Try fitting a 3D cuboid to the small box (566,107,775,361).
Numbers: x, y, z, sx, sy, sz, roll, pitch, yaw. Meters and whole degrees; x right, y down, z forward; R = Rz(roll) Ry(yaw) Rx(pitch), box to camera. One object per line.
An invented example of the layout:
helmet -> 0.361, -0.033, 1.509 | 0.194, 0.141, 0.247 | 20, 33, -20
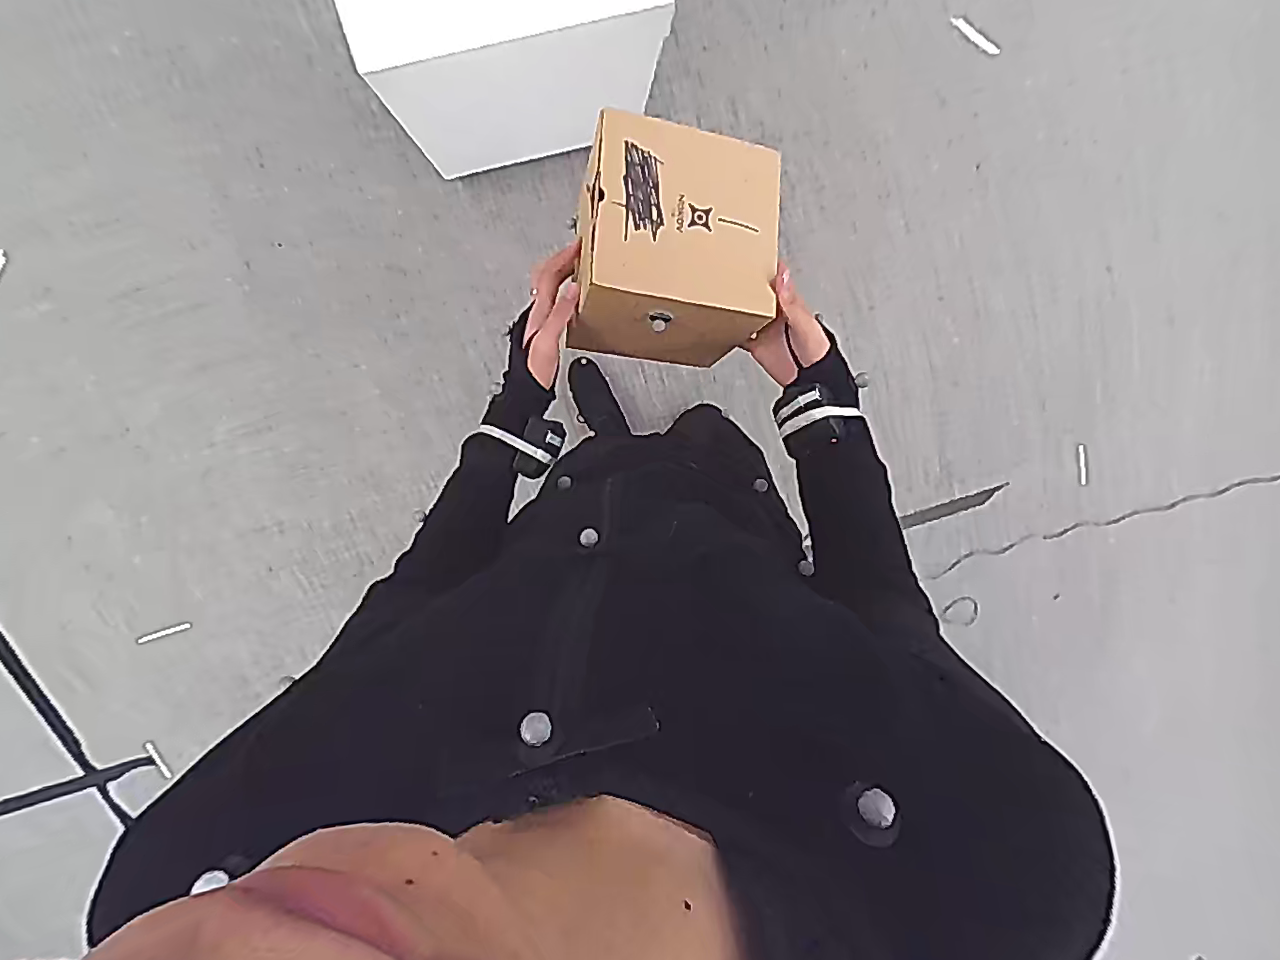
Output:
small box -> 0.021, -0.233, 0.561 | 0.179, 0.176, 0.168 | 4, 84, -14
